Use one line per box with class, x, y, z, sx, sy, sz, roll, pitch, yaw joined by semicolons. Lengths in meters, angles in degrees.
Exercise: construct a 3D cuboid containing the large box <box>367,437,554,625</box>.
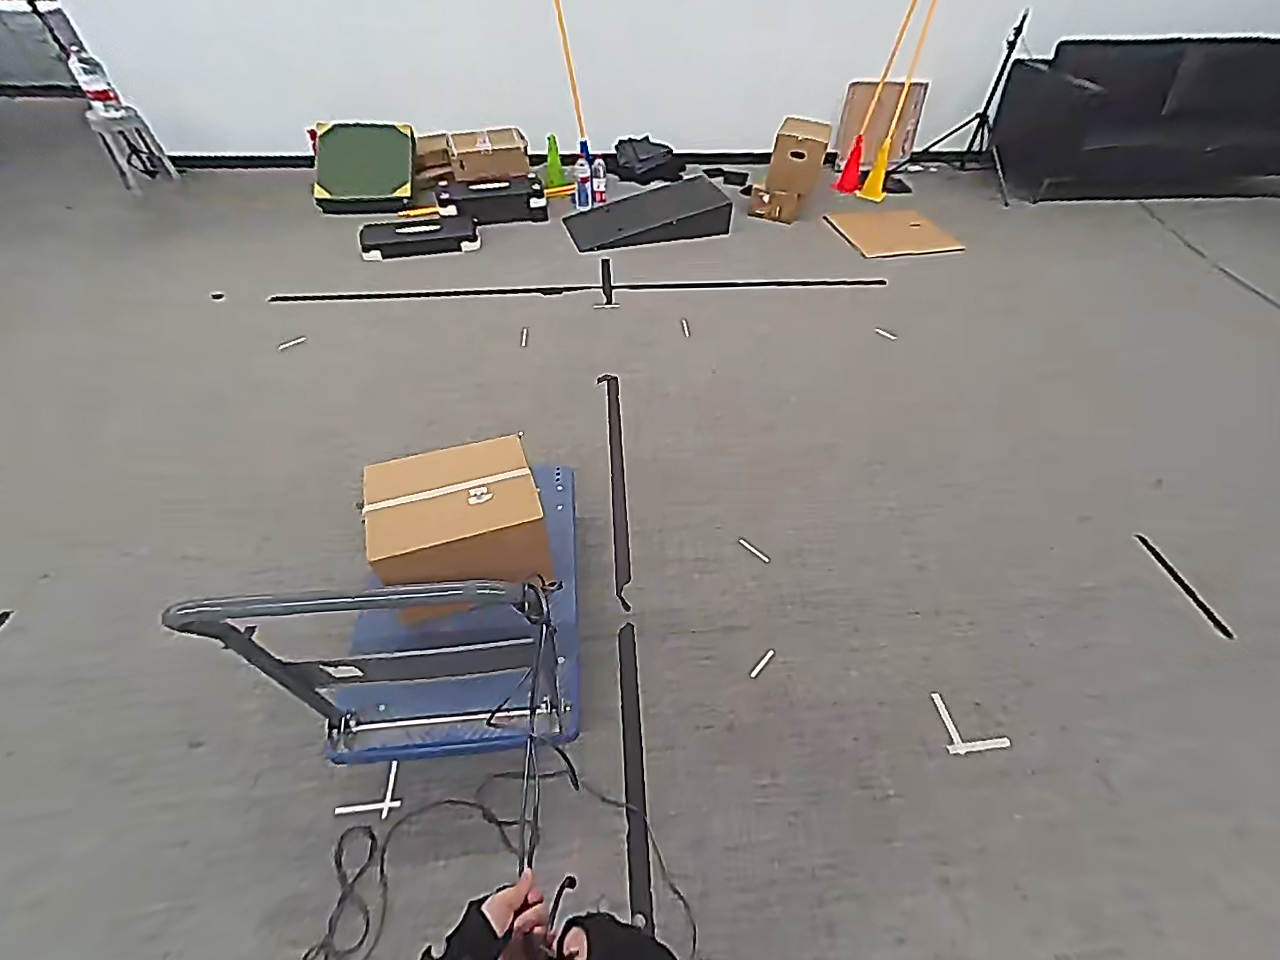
large box;-0.471;0.134;1.453;0.408;0.320;0.320;-13;50;-15
